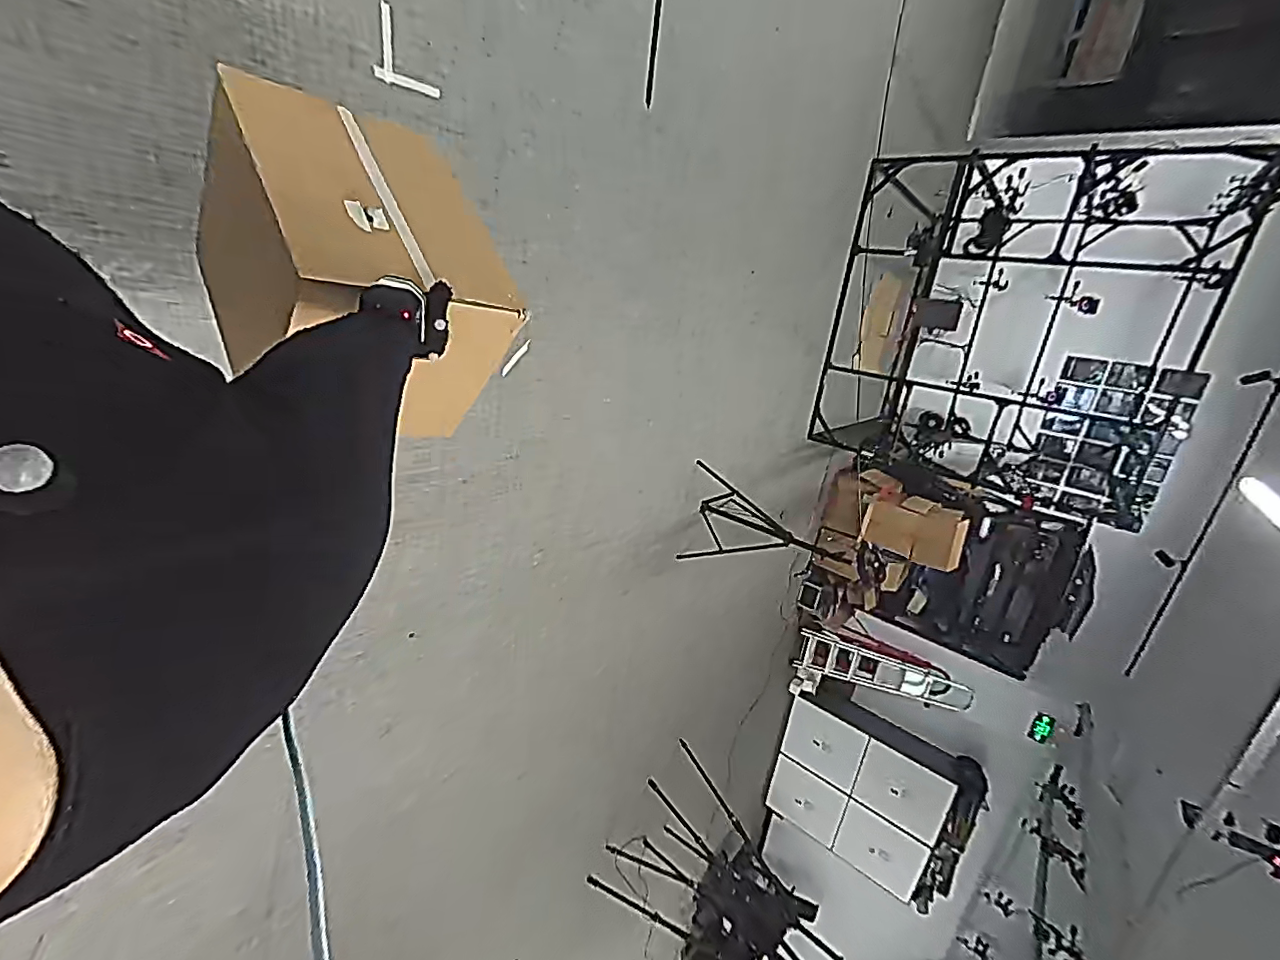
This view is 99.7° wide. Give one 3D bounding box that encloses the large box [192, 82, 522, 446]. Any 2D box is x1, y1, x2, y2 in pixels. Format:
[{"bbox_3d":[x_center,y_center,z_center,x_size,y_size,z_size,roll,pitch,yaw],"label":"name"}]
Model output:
[{"bbox_3d":[-0.468,-0.310,0.876,0.320,0.408,0.320,-11,155,-49],"label":"large box"}]
